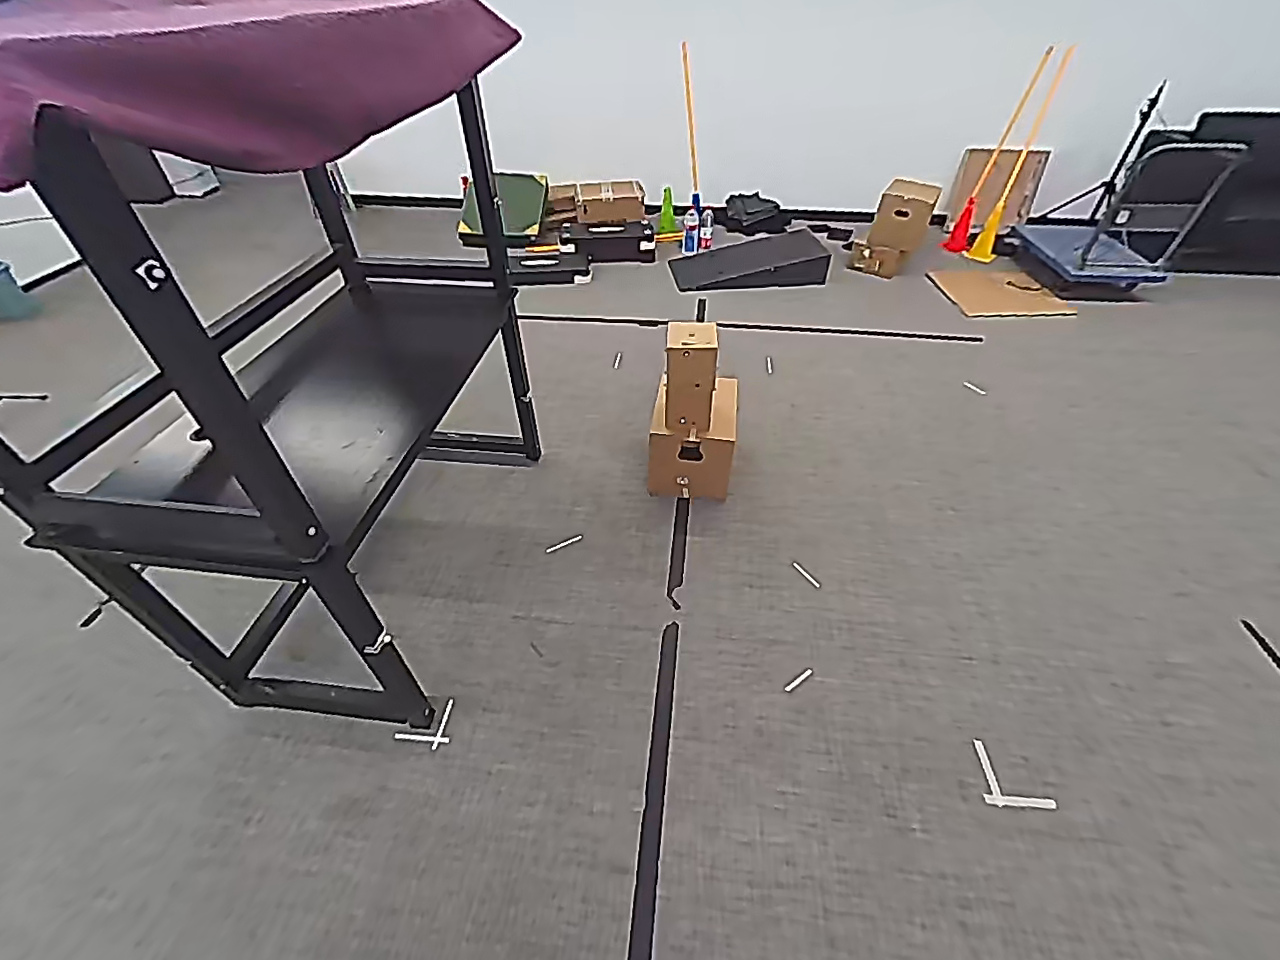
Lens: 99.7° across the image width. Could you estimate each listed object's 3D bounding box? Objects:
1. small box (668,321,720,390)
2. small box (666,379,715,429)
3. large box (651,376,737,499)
[{"bbox_3d":[0.182,-0.425,1.845,0.168,0.176,0.179,1,42,4],"label":"small box"},{"bbox_3d":[0.185,-0.306,1.959,0.168,0.176,0.179,4,44,6],"label":"small box"},{"bbox_3d":[0.217,-0.173,2.172,0.320,0.320,0.408,6,43,5],"label":"large box"}]
